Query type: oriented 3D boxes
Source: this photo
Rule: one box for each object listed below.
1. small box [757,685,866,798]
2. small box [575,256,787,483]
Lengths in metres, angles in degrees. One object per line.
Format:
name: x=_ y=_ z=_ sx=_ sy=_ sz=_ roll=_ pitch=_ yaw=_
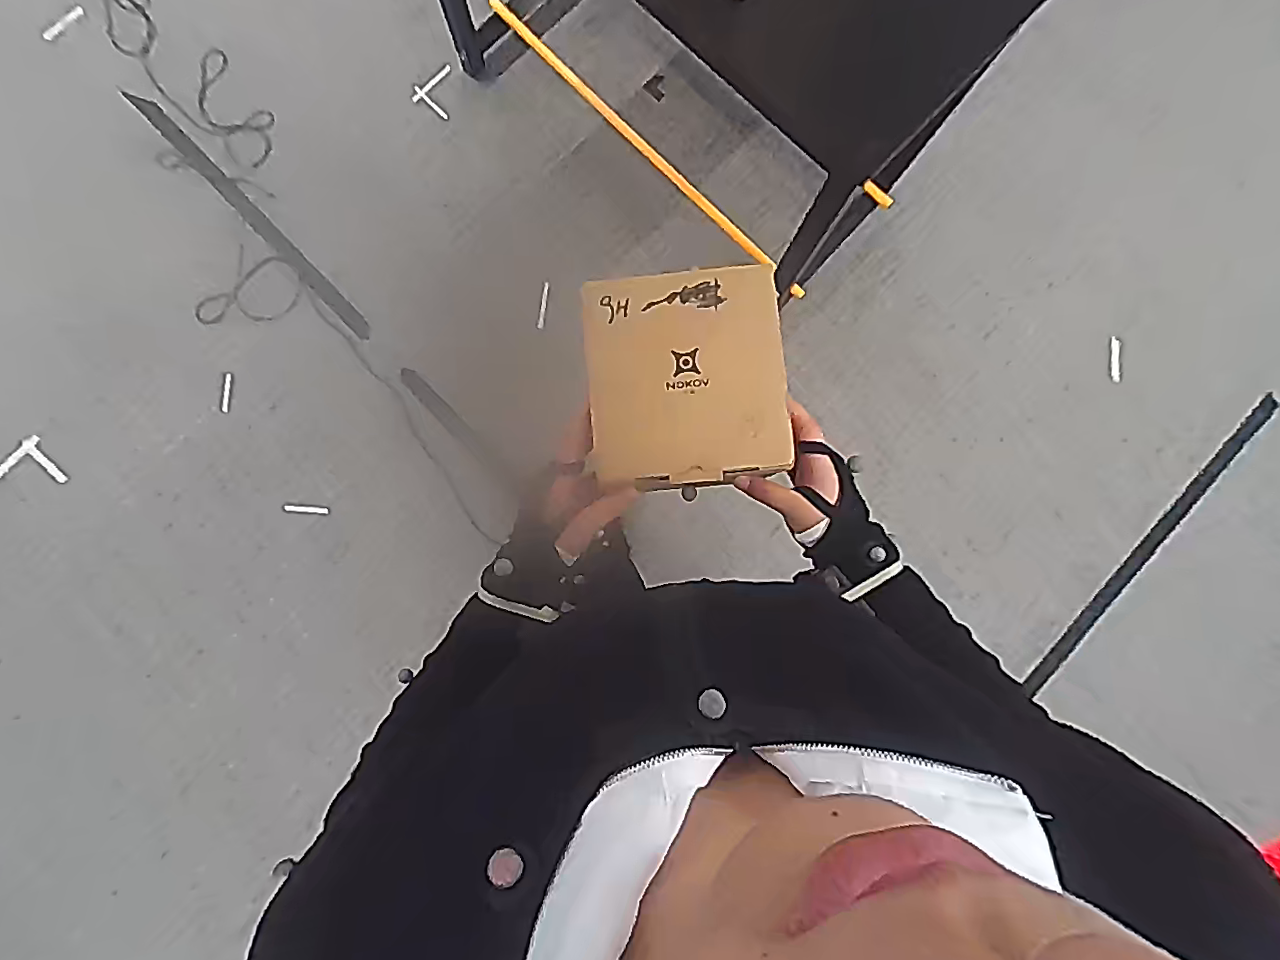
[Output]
small box: x=0.427 y=0.651 z=1.373 sx=0.179 sy=0.176 sz=0.168 roll=38 pitch=84 yaw=4
small box: x=0.037 y=-0.090 z=0.528 sx=0.168 sy=0.176 sz=0.179 roll=-6 pitch=87 yaw=2
